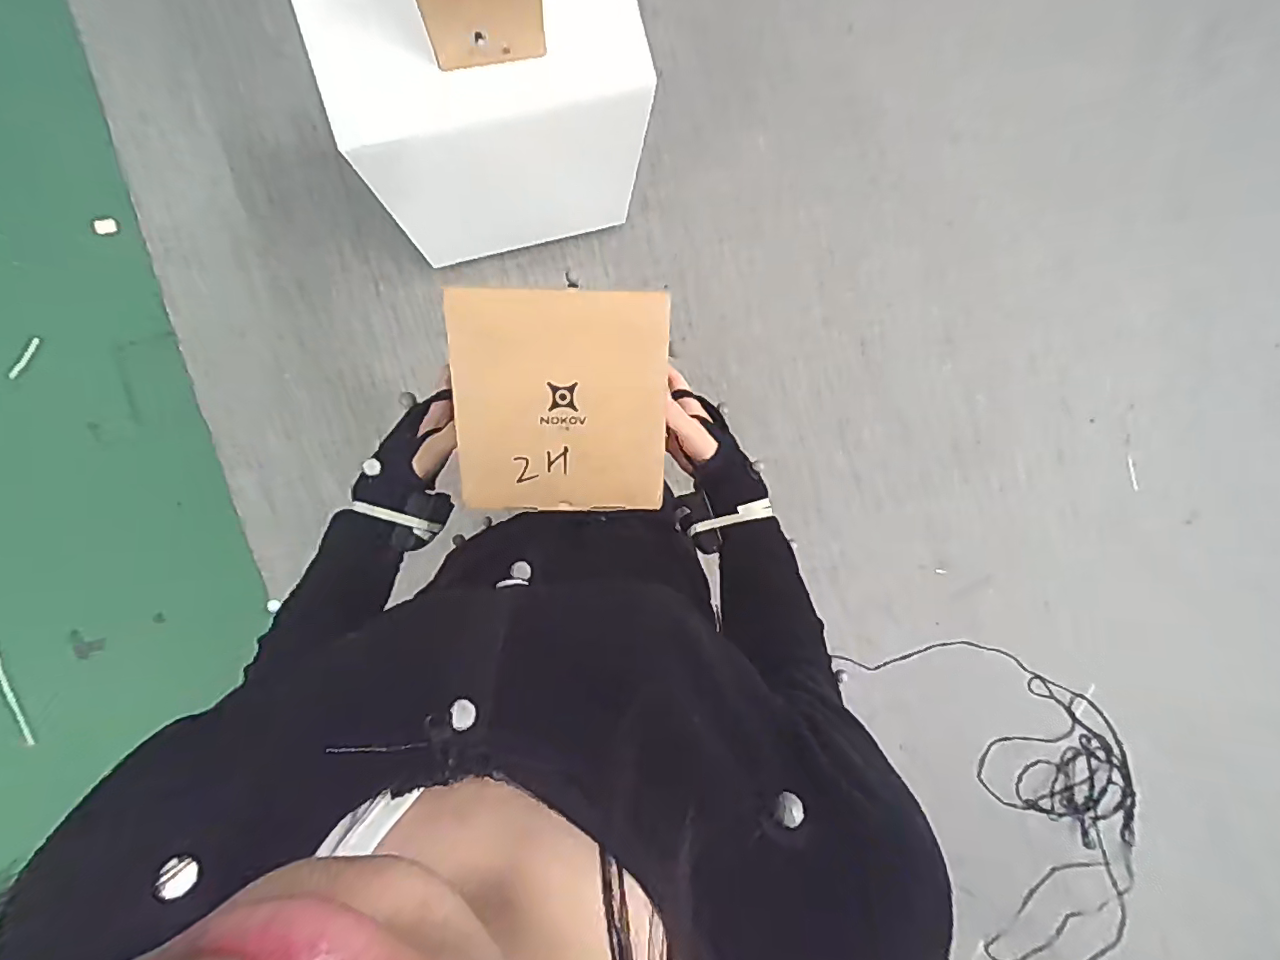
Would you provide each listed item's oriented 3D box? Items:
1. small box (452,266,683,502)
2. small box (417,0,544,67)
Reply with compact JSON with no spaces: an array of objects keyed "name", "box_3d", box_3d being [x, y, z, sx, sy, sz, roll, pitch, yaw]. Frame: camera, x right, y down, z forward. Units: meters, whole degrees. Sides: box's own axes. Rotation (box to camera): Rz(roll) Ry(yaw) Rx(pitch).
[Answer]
[{"name":"small box","box_3d":[-0.059,-0.090,0.481,0.168,0.176,0.179,0,109,-4]},{"name":"small box","box_3d":[-0.232,-0.717,0.734,0.168,0.176,0.179,-14,94,-6]}]
